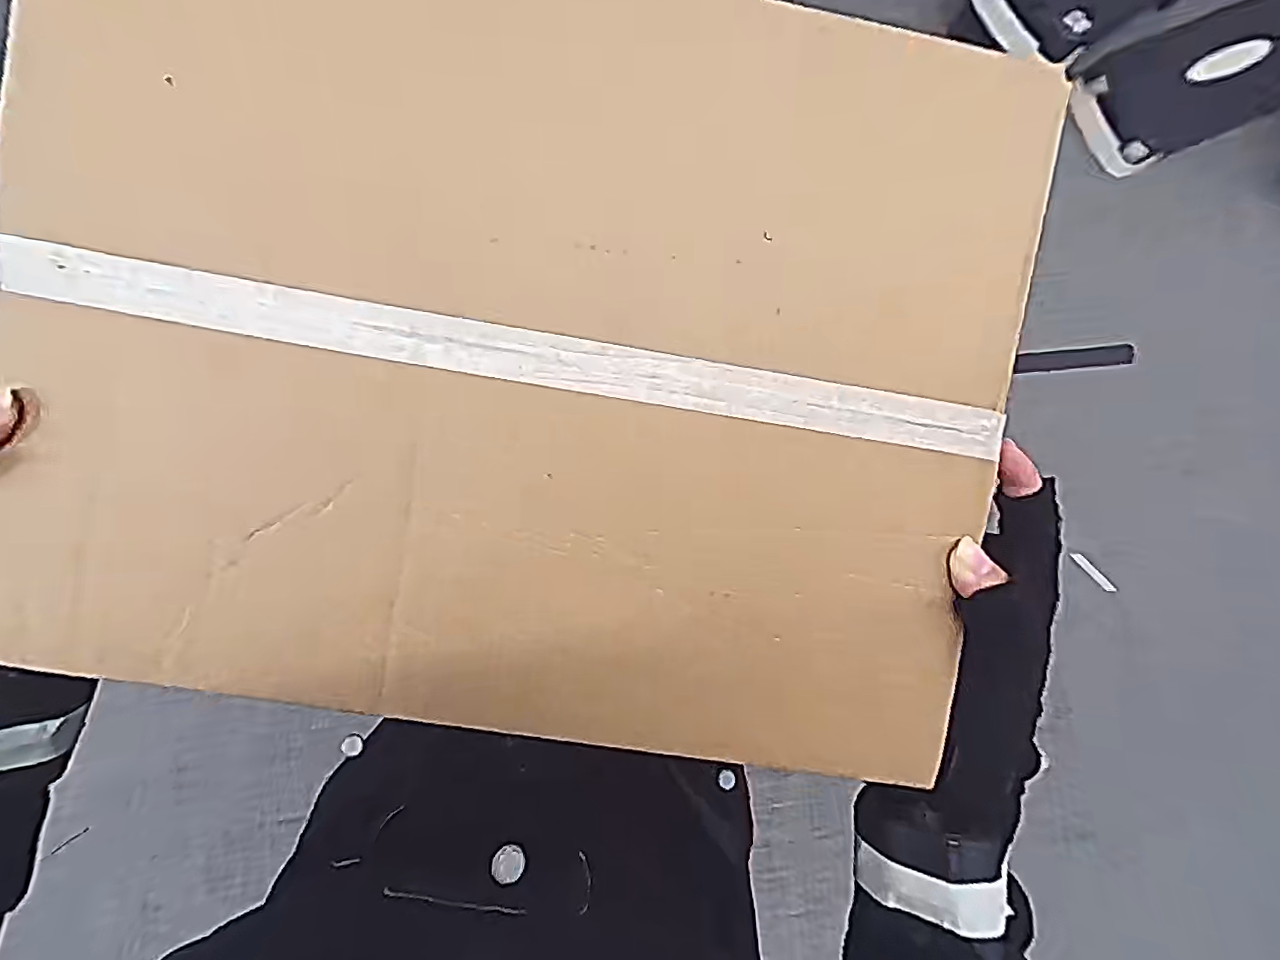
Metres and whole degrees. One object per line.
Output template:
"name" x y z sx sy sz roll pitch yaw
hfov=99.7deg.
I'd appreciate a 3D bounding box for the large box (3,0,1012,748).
"large box" -0.058 -0.059 0.381 0.408 0.320 0.320 9 92 -4
